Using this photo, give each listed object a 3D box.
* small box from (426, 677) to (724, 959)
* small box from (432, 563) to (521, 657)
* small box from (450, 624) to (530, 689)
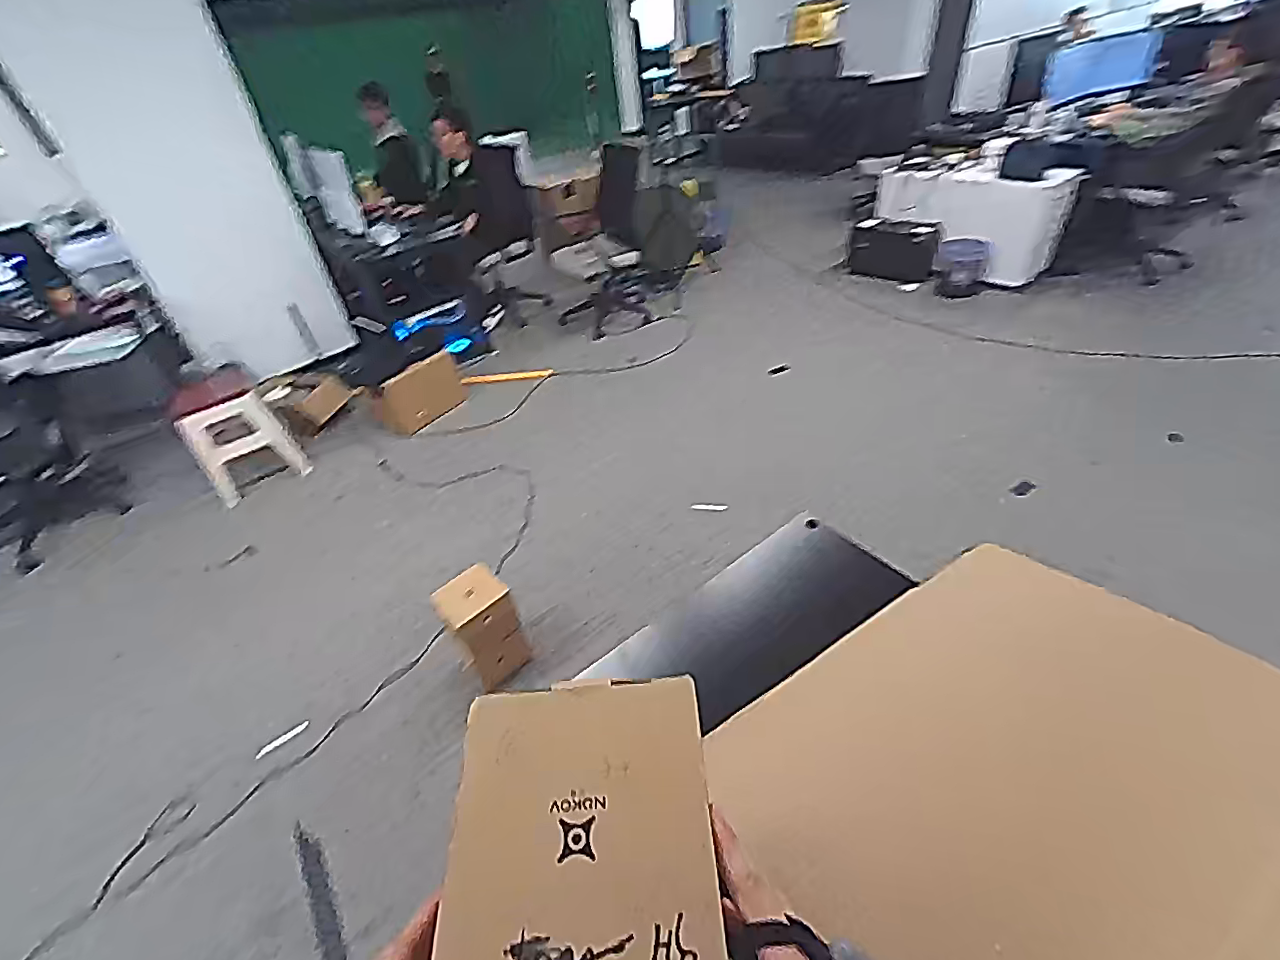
[{"bbox_3d":[-0.032,0.270,0.394,0.168,0.176,0.179,-8,46,2],"label":"small box"},{"bbox_3d":[-0.477,0.388,1.603,0.179,0.176,0.168,-35,48,-30],"label":"small box"},{"bbox_3d":[-0.464,0.515,1.703,0.179,0.176,0.168,-34,46,-27],"label":"small box"}]
